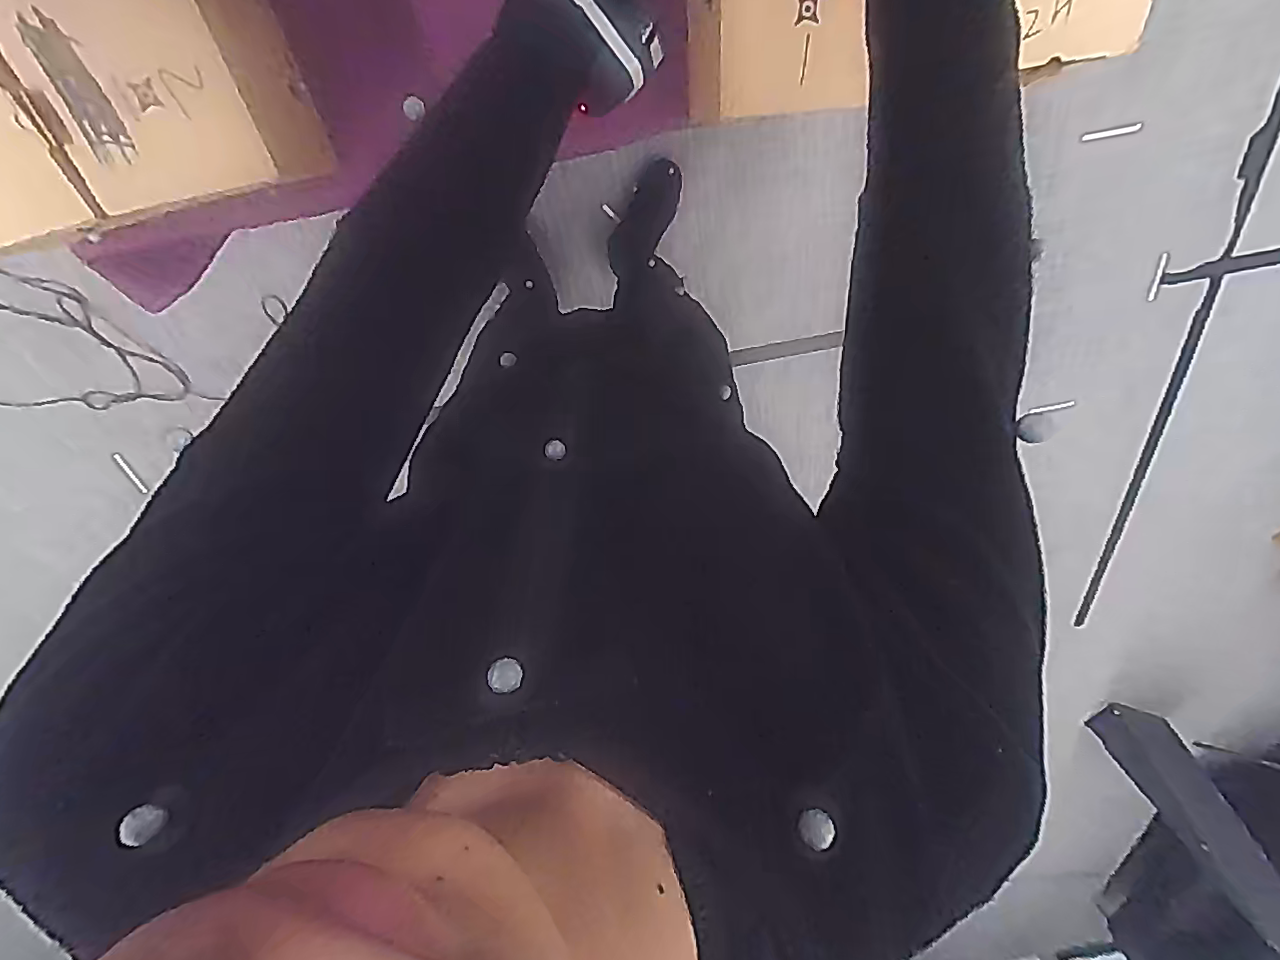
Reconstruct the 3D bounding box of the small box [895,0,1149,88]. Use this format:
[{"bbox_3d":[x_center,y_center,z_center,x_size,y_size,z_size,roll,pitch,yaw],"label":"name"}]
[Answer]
[{"bbox_3d":[0.382,-0.521,0.547,0.168,0.176,0.179,-8,123,1],"label":"small box"}]
